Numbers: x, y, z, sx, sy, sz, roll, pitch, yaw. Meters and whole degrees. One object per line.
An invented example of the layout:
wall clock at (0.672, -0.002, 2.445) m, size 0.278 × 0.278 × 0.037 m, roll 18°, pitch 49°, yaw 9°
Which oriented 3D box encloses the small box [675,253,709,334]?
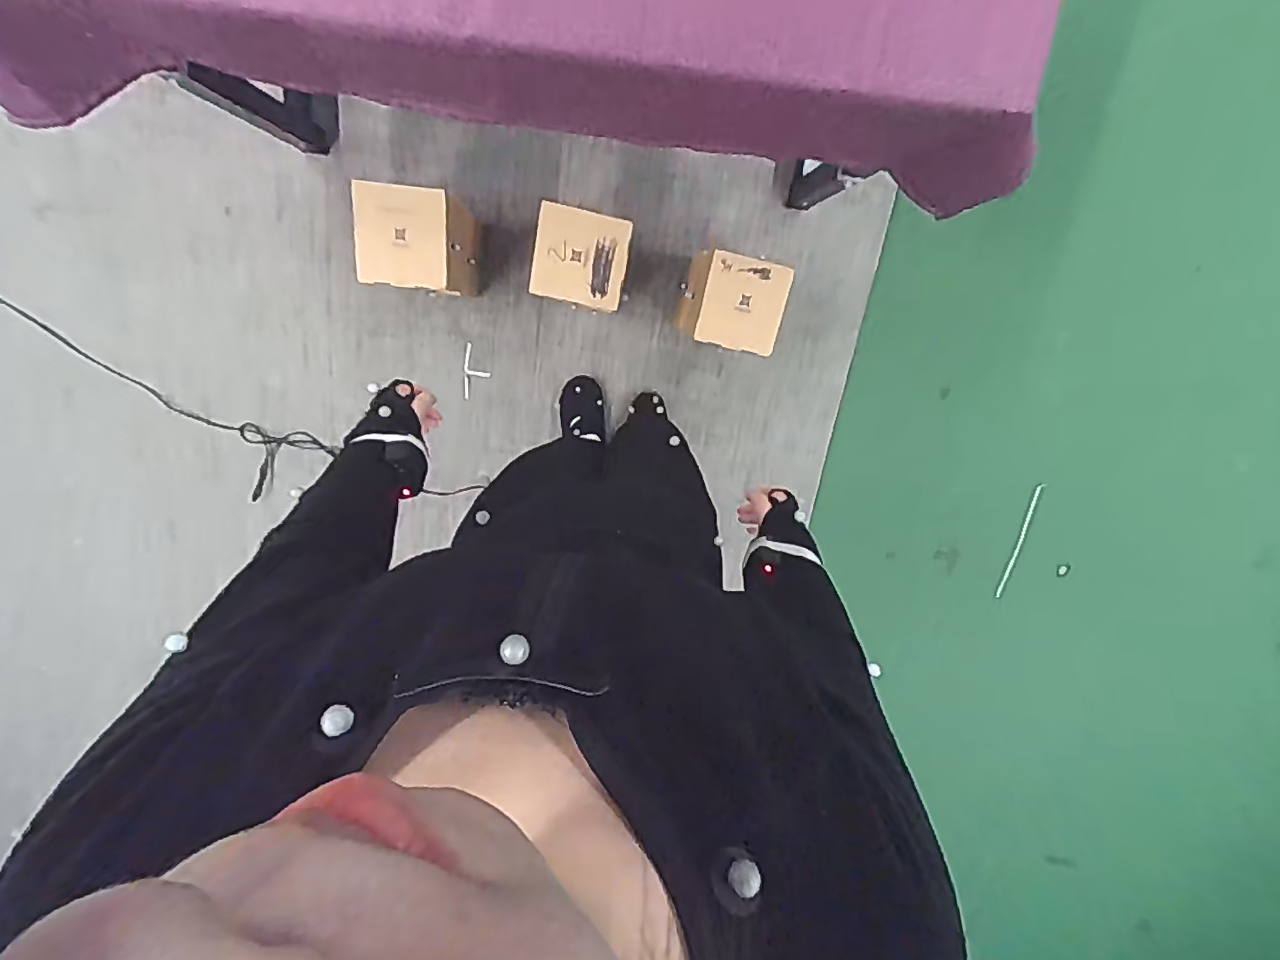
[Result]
small box at (0.187, -0.421, 1.296) m, size 0.168 × 0.176 × 0.179 m, roll 16°, pitch 105°, yaw -8°

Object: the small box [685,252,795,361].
small box at (0.199, -0.365, 1.140) m, size 0.168 × 0.176 × 0.179 m, roll 12°, pitch 108°, yaw -9°
